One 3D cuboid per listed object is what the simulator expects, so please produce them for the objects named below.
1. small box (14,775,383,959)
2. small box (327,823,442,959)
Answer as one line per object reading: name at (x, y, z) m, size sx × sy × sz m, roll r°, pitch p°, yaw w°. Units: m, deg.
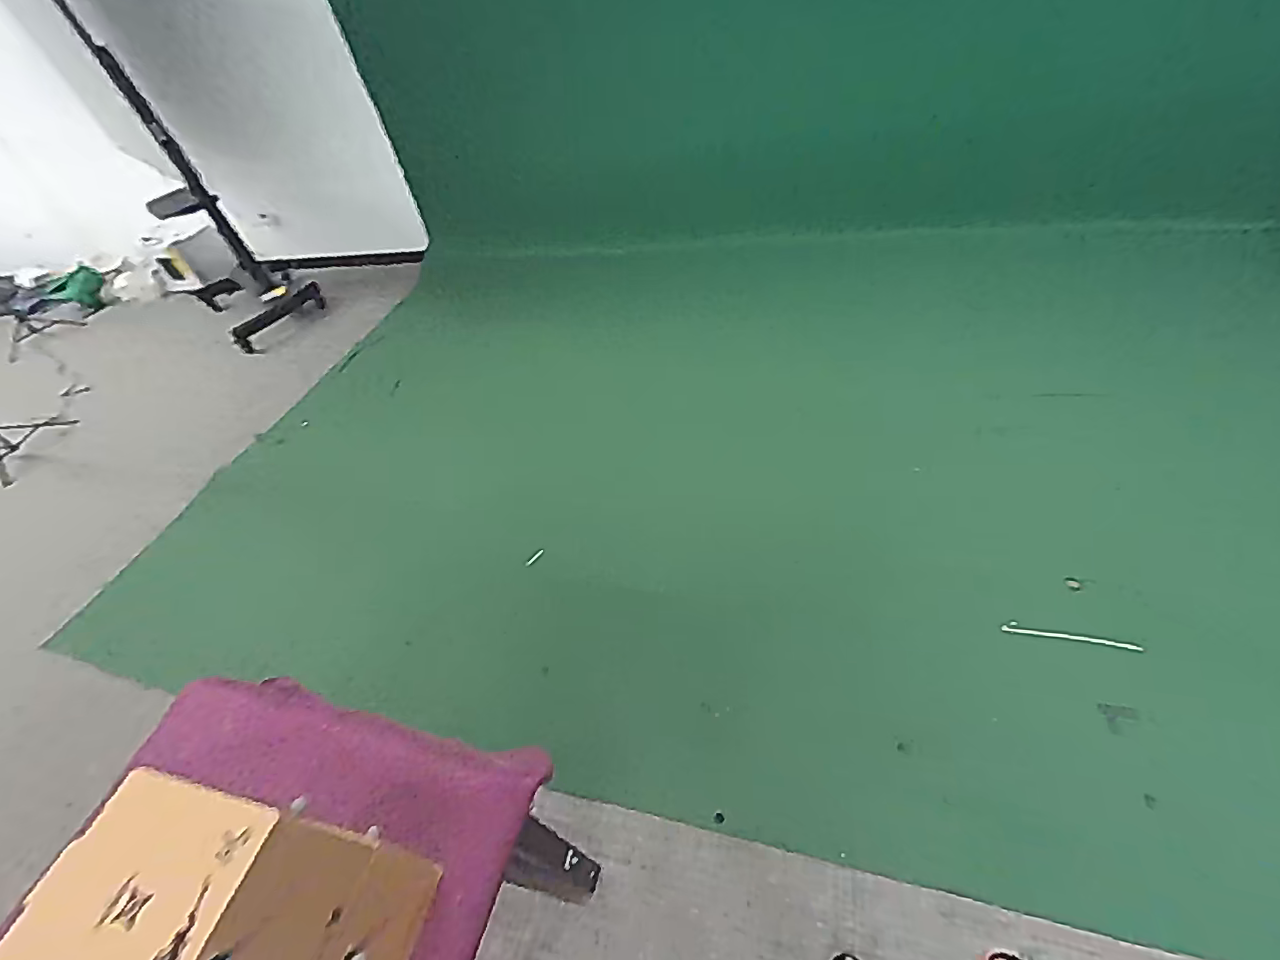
small box at (-0.383, 0.395, 0.493) m, size 0.179 × 0.176 × 0.168 m, roll 3°, pitch 51°, yaw 17°
small box at (-0.352, 0.505, 0.611) m, size 0.168 × 0.176 × 0.179 m, roll 3°, pitch 50°, yaw 16°
